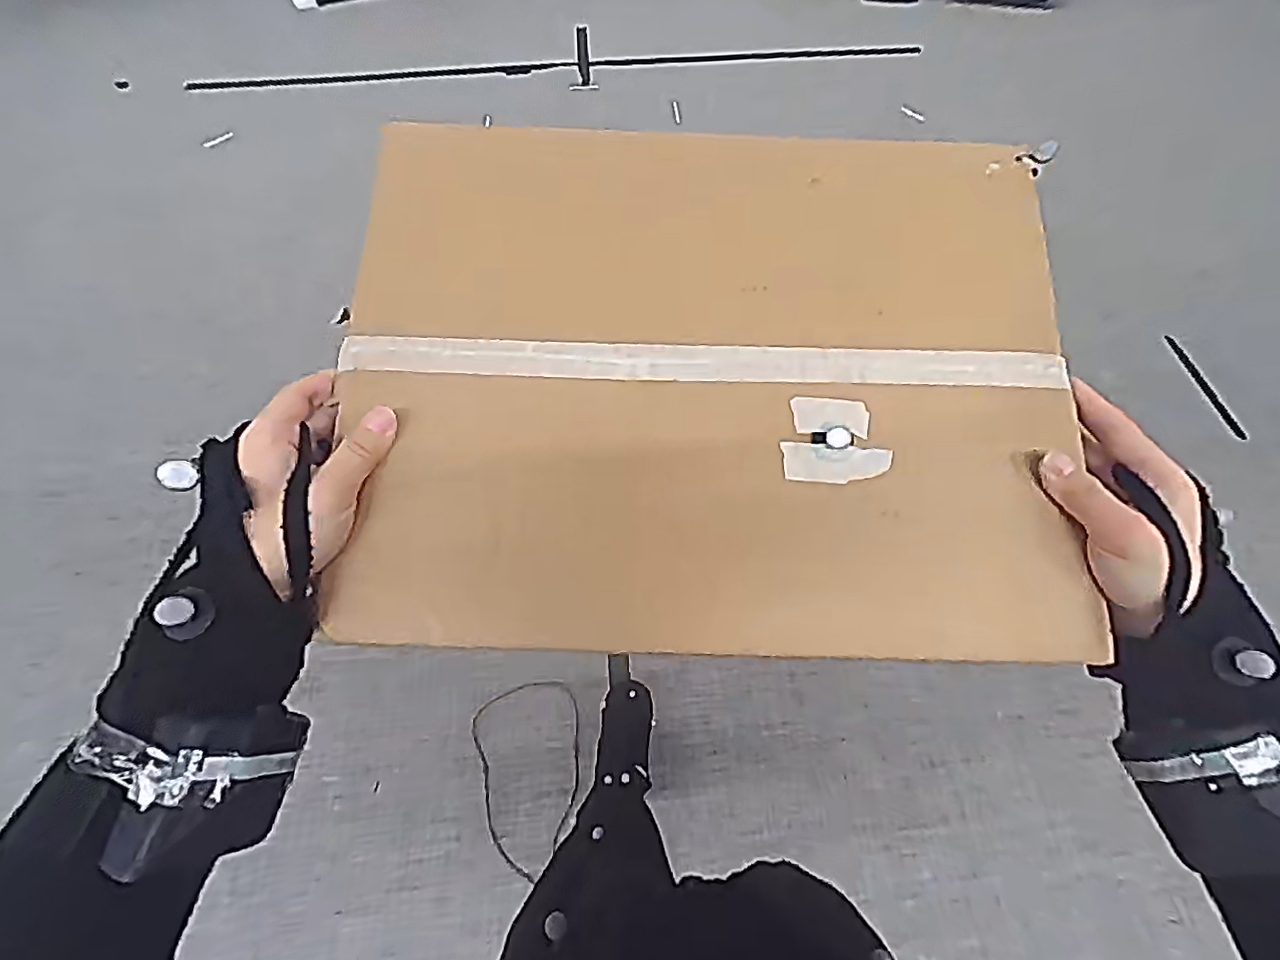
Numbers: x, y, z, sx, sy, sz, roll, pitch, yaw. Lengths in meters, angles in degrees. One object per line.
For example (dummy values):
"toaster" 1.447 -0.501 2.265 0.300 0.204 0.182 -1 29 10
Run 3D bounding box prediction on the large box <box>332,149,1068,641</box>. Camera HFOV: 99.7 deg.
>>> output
"large box" 0.031 -0.032 0.466 0.408 0.320 0.320 2 77 -1
